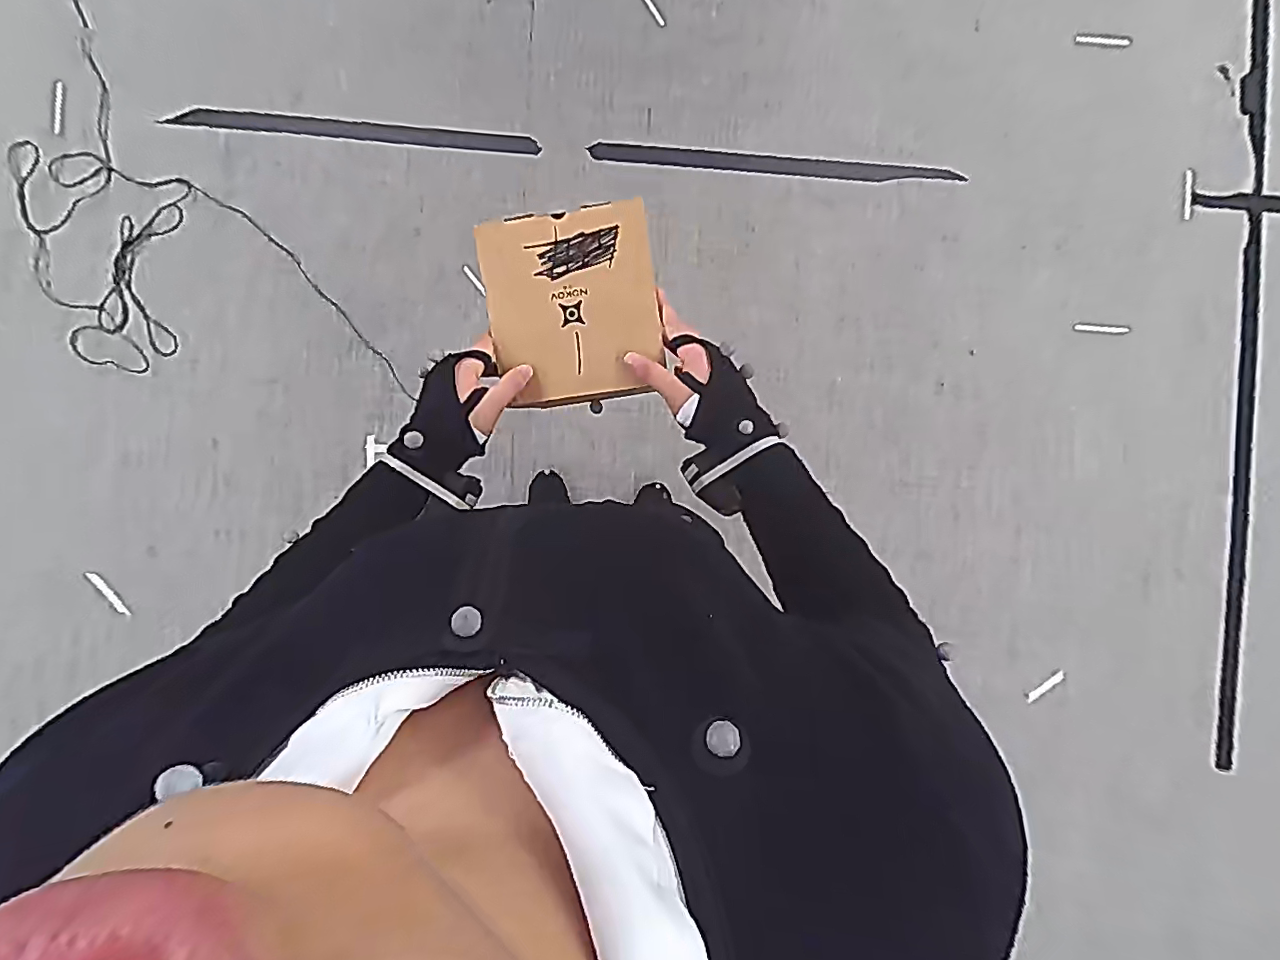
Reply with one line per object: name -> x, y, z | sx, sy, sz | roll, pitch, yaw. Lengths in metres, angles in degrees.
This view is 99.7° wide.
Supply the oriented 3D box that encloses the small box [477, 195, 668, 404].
small box -> -0.062, -0.181, 0.597 | 0.168, 0.176, 0.179 | -8, 97, 4
